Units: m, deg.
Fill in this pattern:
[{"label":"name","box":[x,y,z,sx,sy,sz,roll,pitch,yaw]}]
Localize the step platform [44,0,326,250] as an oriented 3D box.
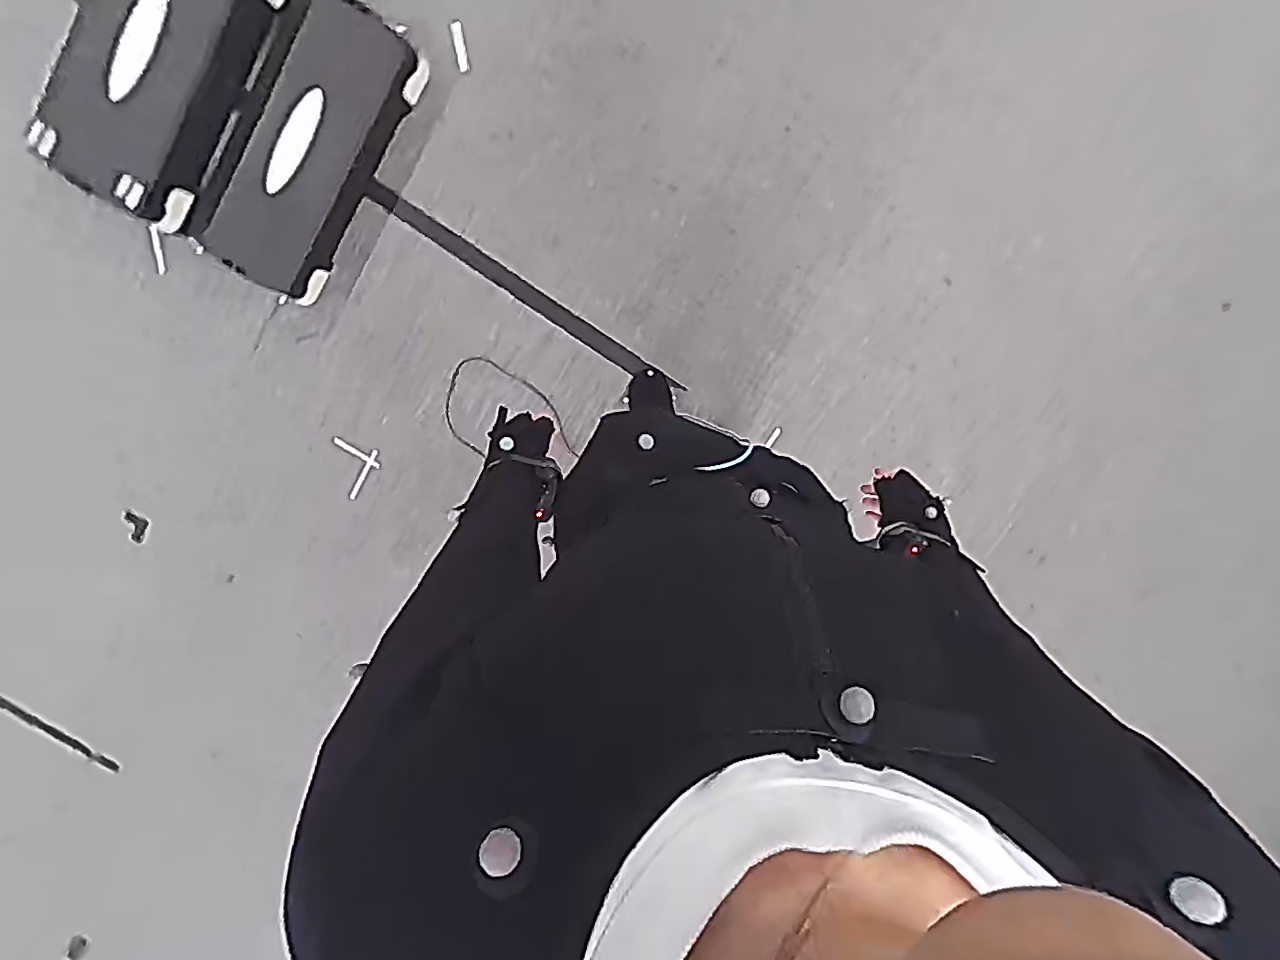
[{"label":"step platform","box":[-1.008,-0.893,1.210,0.286,0.204,0.684,31,98,-5]}]
